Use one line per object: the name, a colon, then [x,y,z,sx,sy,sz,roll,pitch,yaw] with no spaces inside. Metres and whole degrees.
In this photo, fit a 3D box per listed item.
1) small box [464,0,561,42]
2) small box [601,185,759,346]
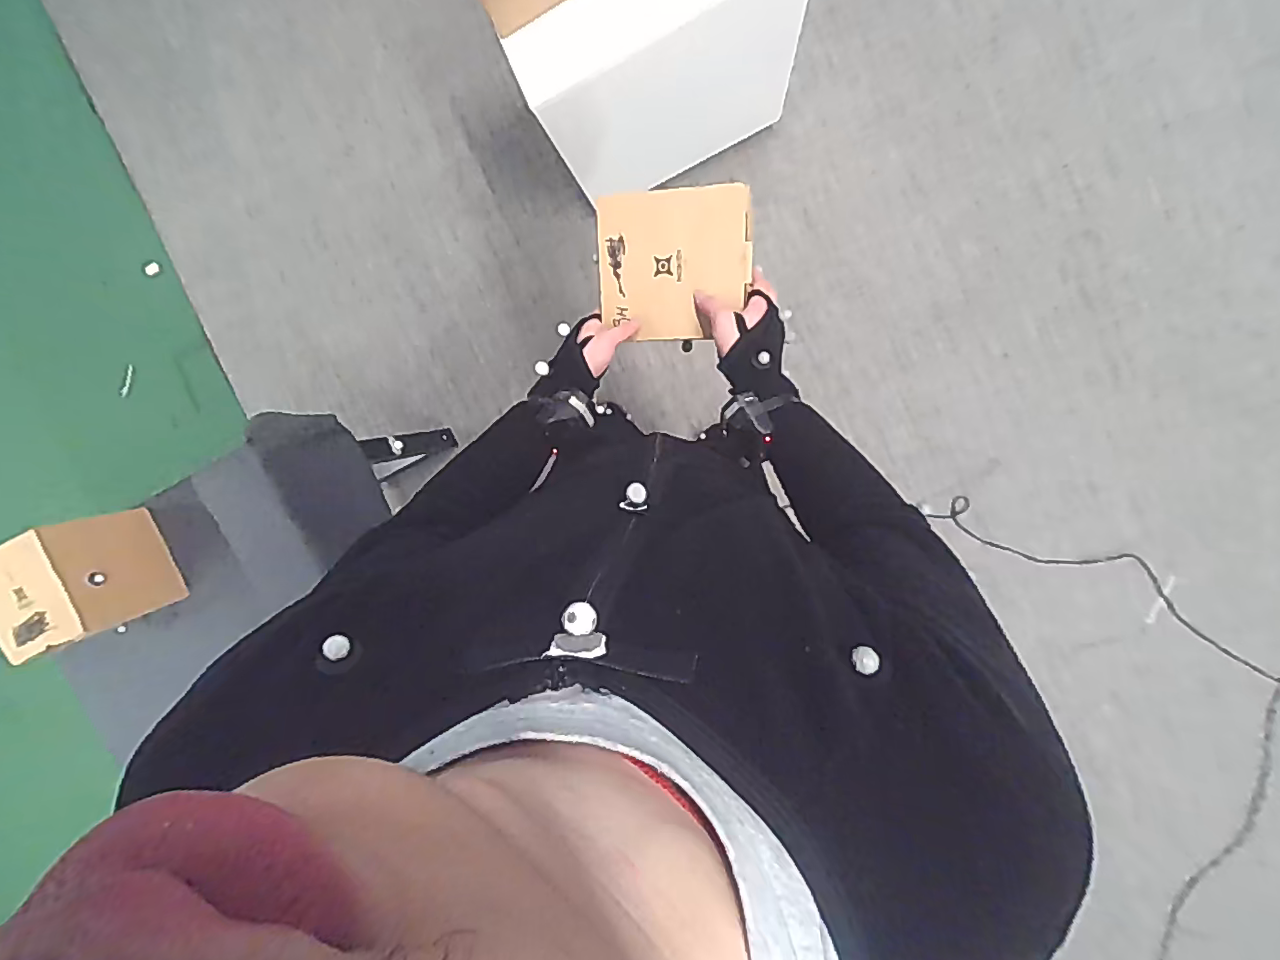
small box: [-0.206,-0.794,0.771,0.179,0.176,0.168,-26,93,8]
small box: [0.056,-0.258,0.686,0.179,0.176,0.168,0,103,10]
